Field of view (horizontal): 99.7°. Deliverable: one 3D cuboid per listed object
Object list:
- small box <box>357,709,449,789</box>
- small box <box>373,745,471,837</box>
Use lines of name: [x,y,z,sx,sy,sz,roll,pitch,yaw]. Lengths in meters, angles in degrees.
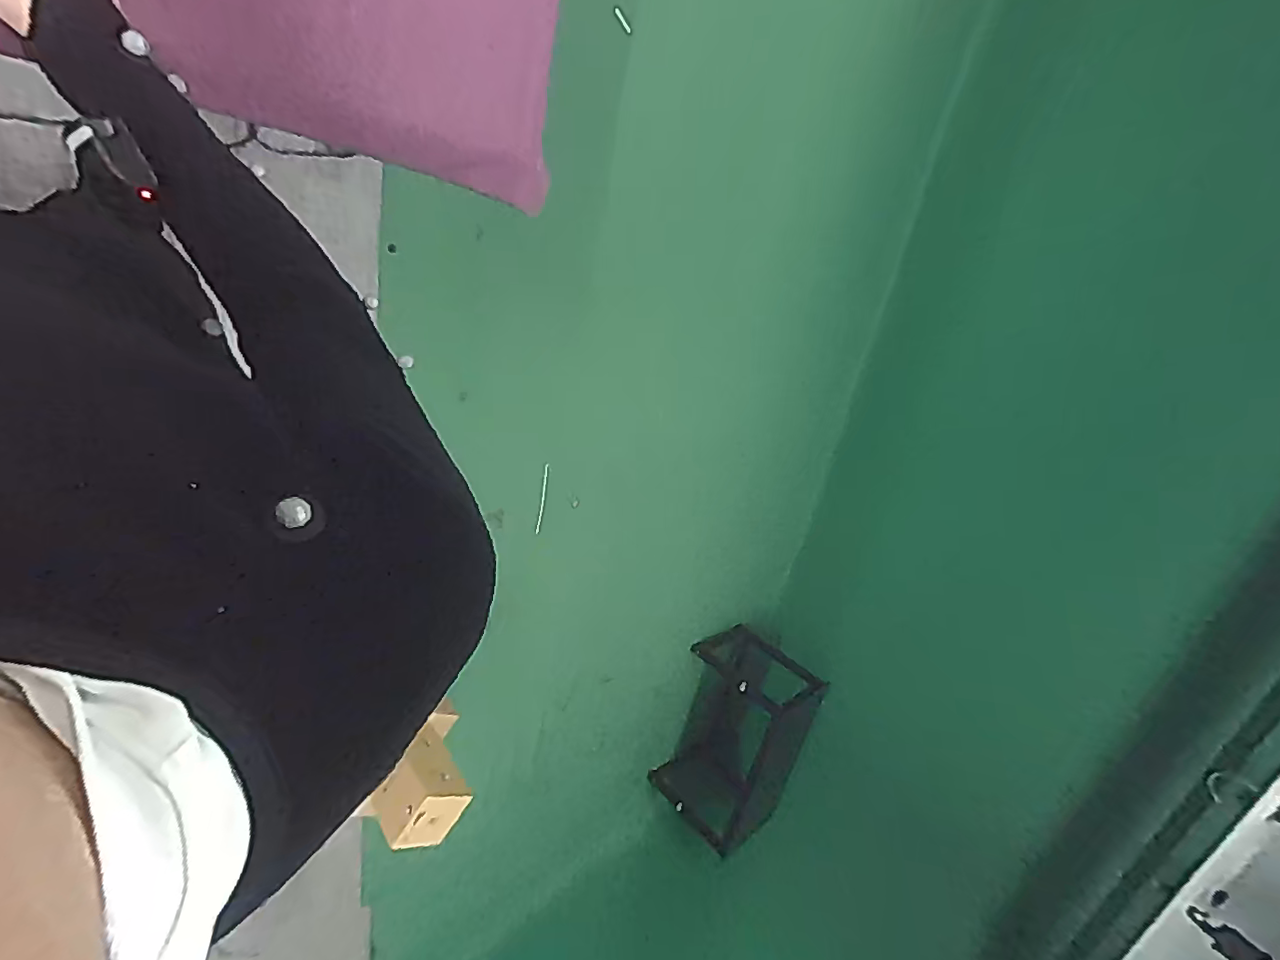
small box: [-0.748,0.849,1.705,0.168,0.176,0.179,-55,140,-6]
small box: [-0.644,0.910,1.594,0.168,0.176,0.179,-55,141,-5]
